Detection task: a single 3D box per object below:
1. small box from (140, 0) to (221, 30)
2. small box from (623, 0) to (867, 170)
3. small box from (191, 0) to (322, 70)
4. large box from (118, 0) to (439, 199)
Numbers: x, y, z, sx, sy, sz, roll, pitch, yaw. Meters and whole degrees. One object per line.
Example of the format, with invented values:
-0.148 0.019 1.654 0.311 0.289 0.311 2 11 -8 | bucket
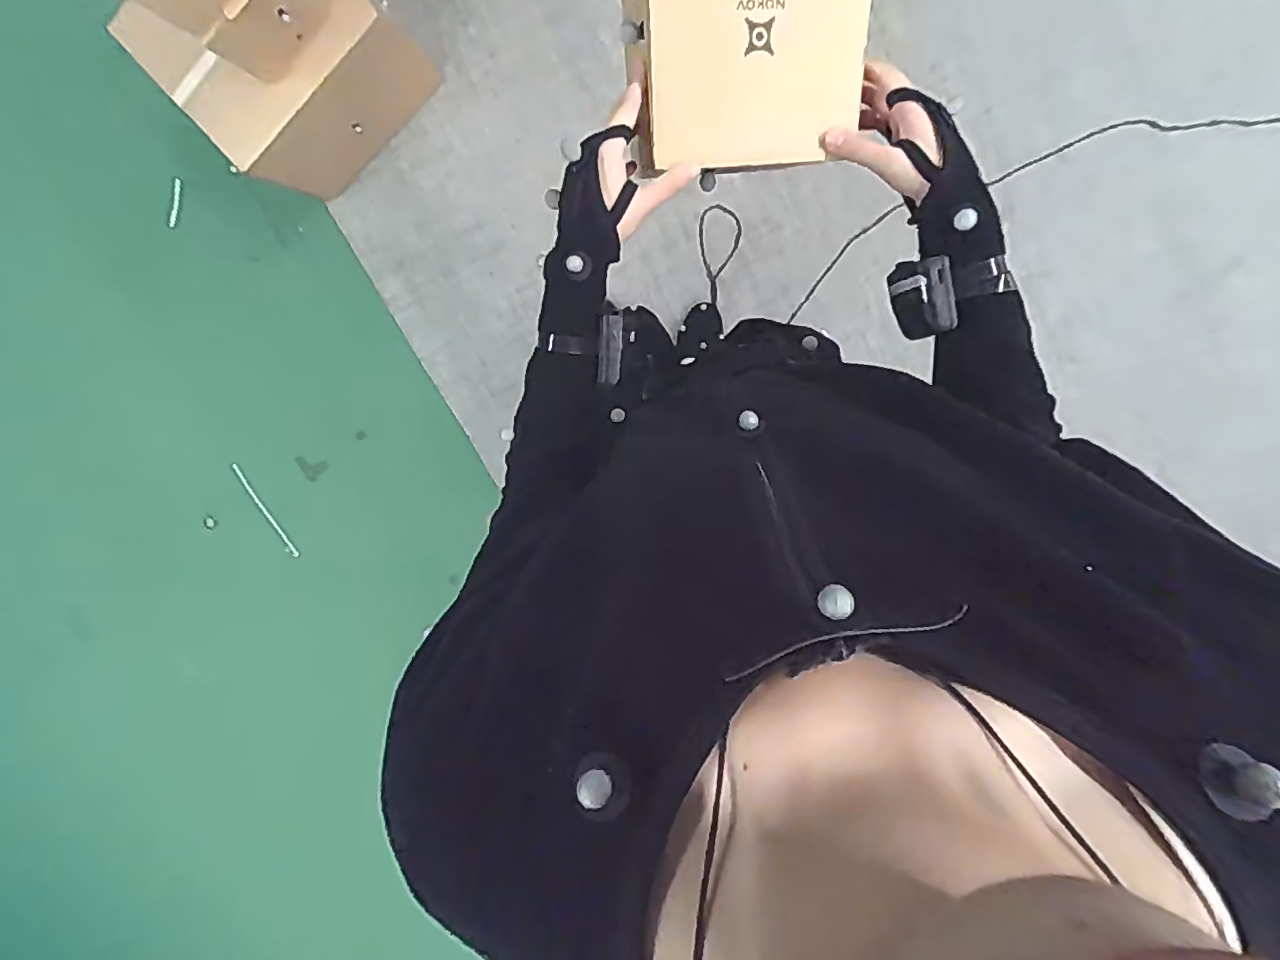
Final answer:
-0.673 -0.774 0.723 0.179 0.176 0.168 -39 103 12 | small box
0.076 -0.369 0.459 0.168 0.176 0.179 -6 116 -4 | small box
-0.672 -0.818 0.881 0.168 0.176 0.179 -38 103 11 | small box
-0.708 -0.874 1.120 0.408 0.320 0.320 -38 102 13 | large box
